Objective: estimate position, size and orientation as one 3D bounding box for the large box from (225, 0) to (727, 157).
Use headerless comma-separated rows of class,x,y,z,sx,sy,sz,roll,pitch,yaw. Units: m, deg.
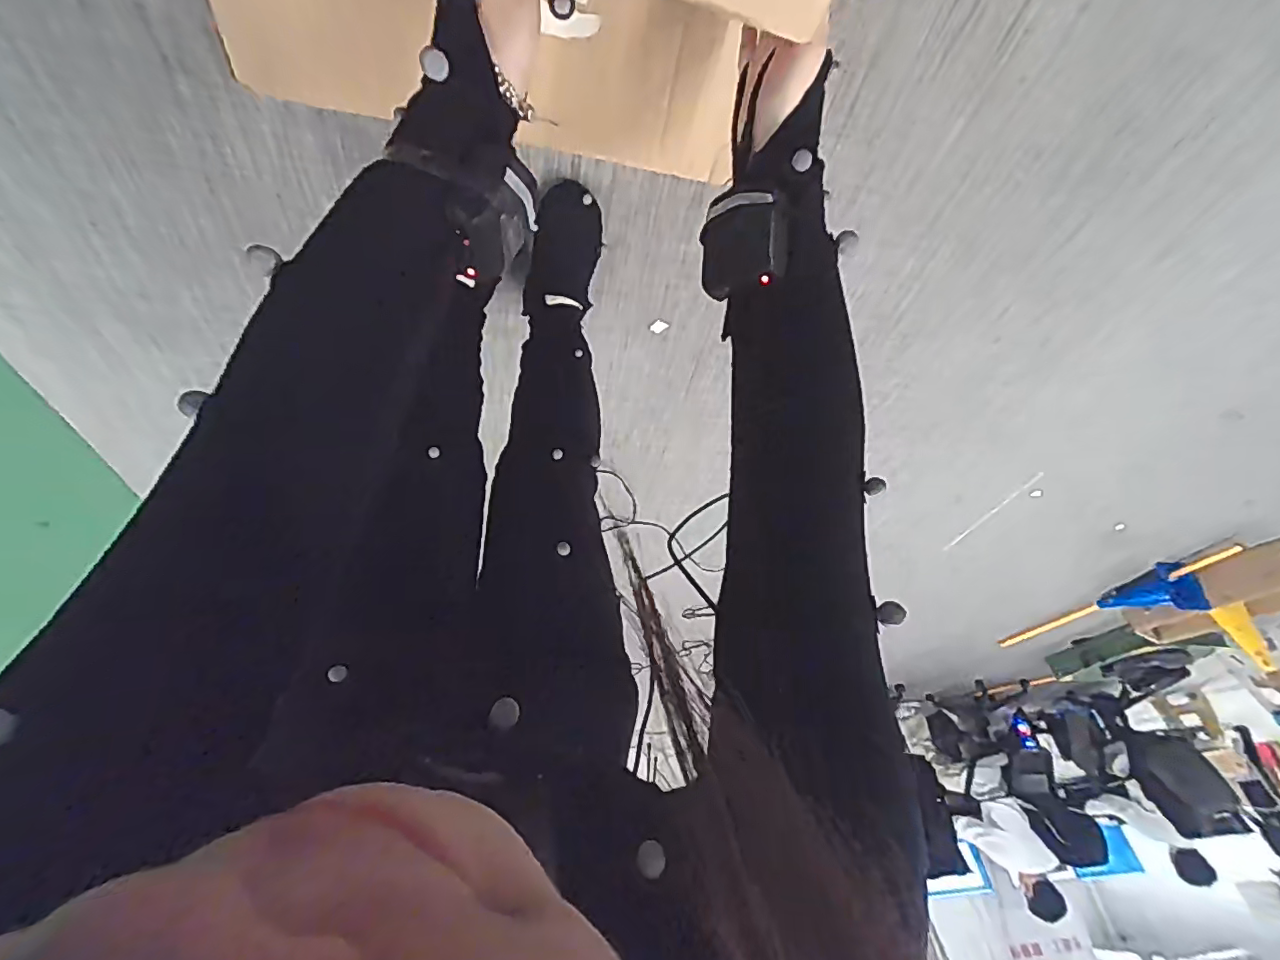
large box,-0.126,-0.538,0.474,0.408,0.320,0.320,2,143,-12
